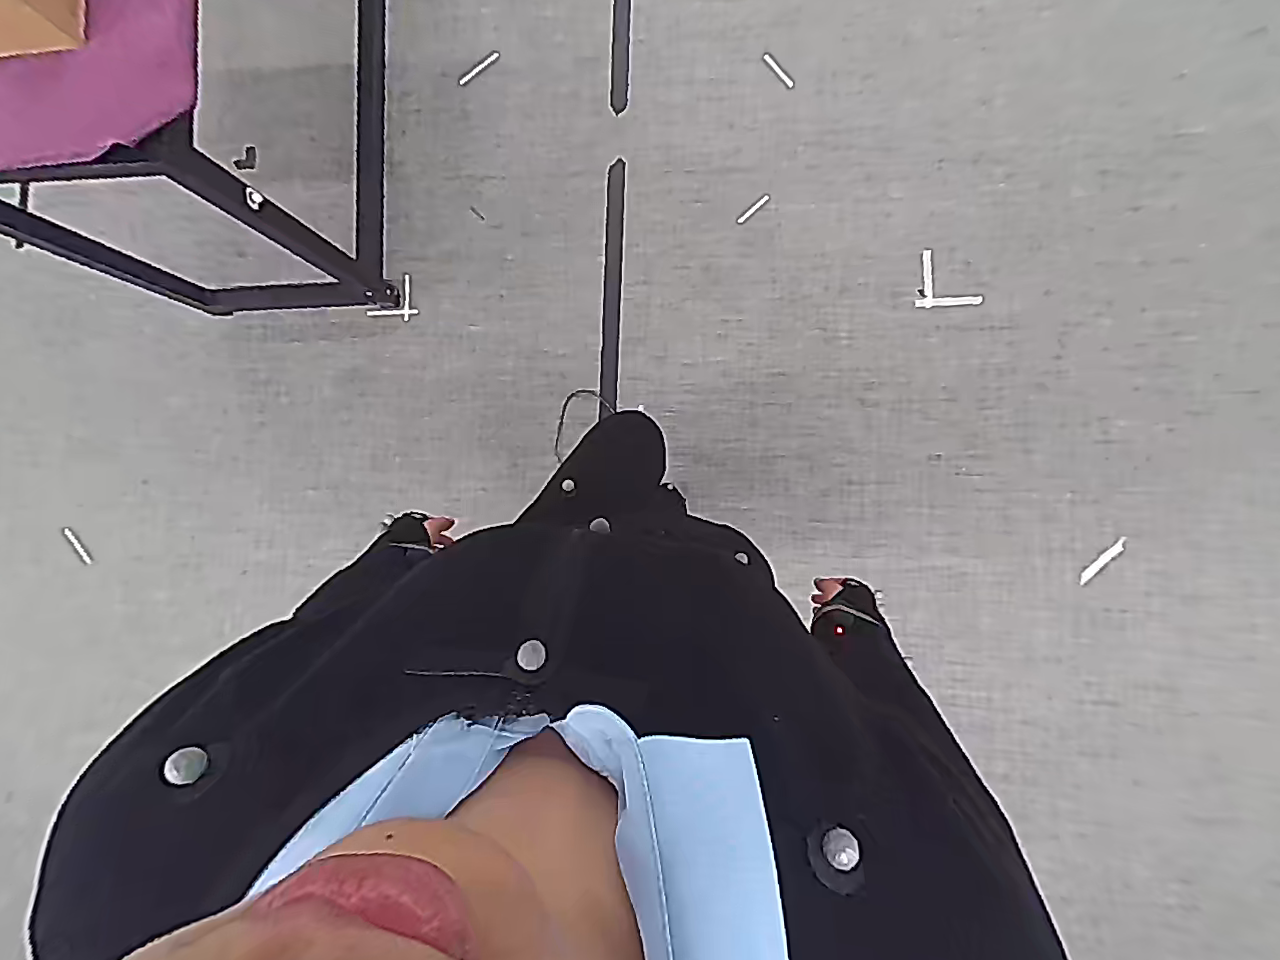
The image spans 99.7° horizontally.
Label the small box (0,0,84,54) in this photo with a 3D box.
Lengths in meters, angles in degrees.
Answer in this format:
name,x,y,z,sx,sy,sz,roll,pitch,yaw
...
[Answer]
name,x,y,z,sx,sy,sz,roll,pitch,yaw
small box,-0.969,-0.761,0.780,0.179,0.176,0.168,-2,87,4
